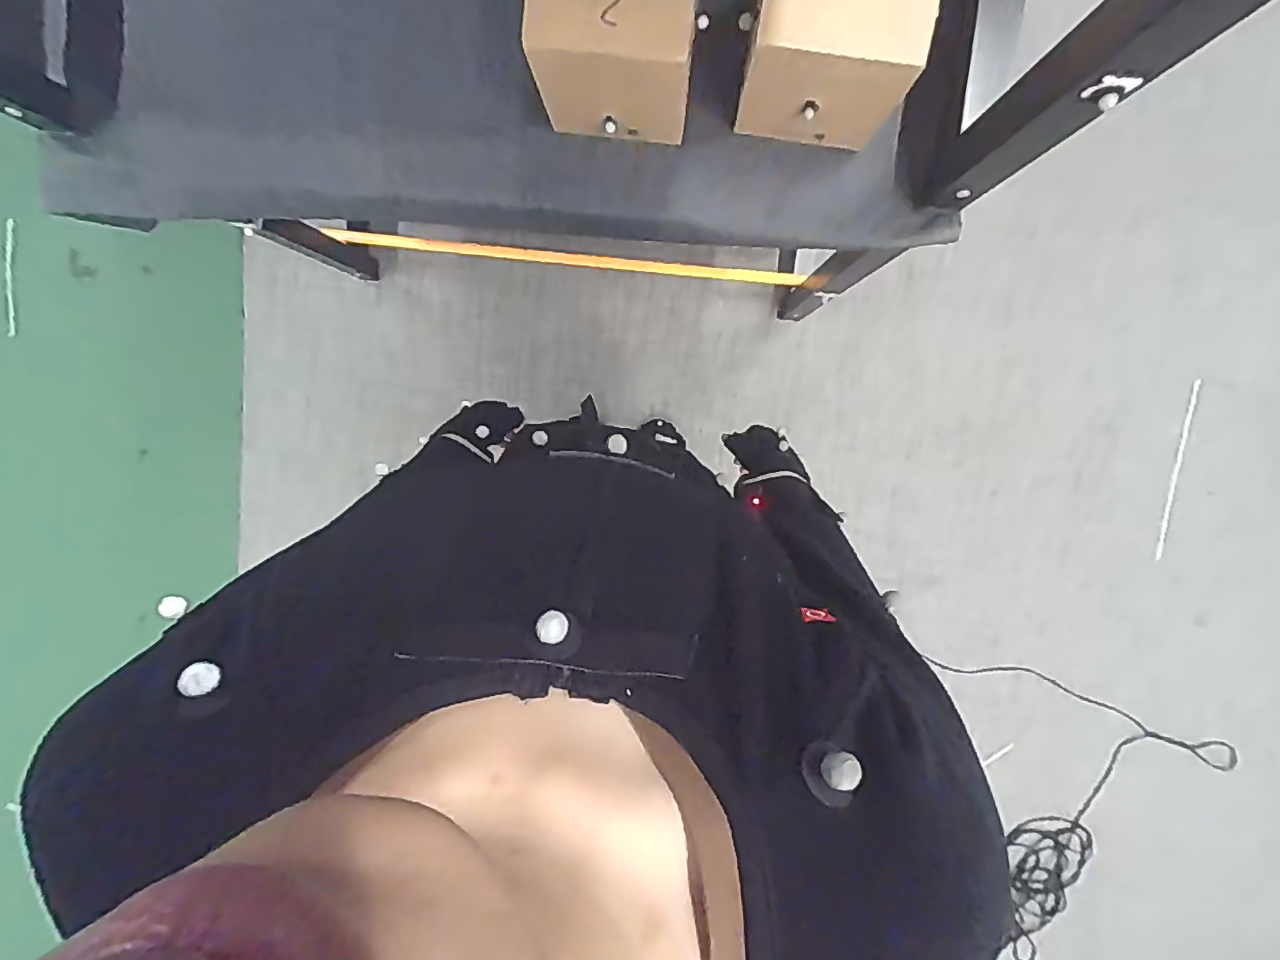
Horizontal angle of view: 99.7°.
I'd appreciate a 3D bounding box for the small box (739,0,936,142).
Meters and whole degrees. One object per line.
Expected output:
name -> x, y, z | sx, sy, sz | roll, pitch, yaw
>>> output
small box -> 0.209, -0.504, 0.588 | 0.168, 0.176, 0.179 | 9, 97, 1
